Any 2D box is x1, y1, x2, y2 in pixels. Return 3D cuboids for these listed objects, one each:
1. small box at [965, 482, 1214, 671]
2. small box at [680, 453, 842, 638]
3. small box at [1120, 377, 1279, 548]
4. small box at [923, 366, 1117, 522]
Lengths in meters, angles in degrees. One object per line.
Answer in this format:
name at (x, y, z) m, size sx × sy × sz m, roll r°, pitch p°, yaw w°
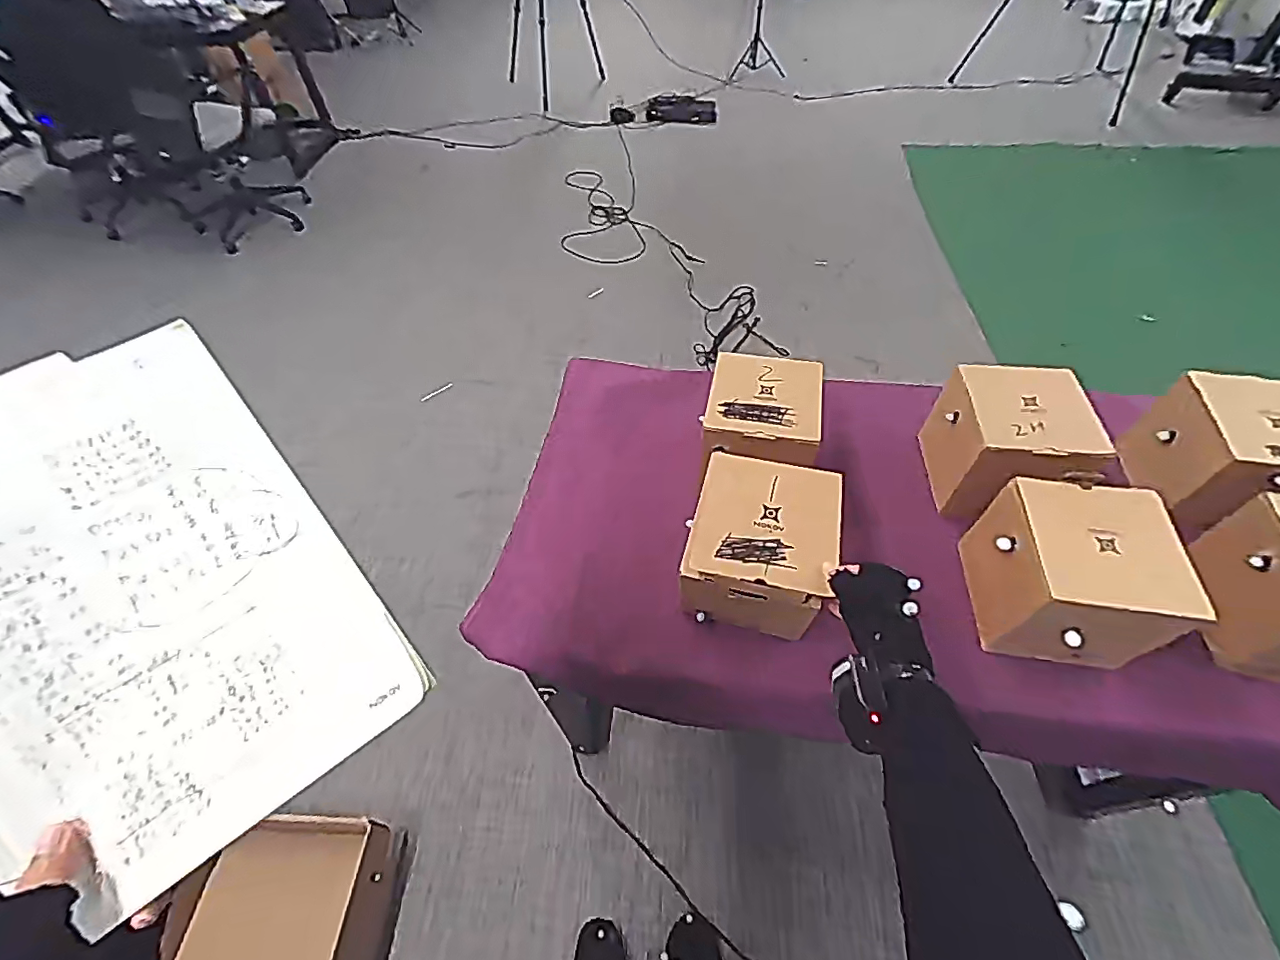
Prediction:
small box at (0.551, 0.128, 0.698) m, size 0.168 × 0.176 × 0.179 m, roll 7°, pitch 54°, yaw 8°
small box at (0.155, 0.093, 0.717) m, size 0.168 × 0.176 × 0.179 m, roll 13°, pitch 63°, yaw 11°
small box at (0.871, -0.025, 0.801) m, size 0.168 × 0.176 × 0.179 m, roll 8°, pitch 53°, yaw 9°
small box at (0.561, -0.050, 0.832) m, size 0.168 × 0.176 × 0.179 m, roll 5°, pitch 53°, yaw 6°
